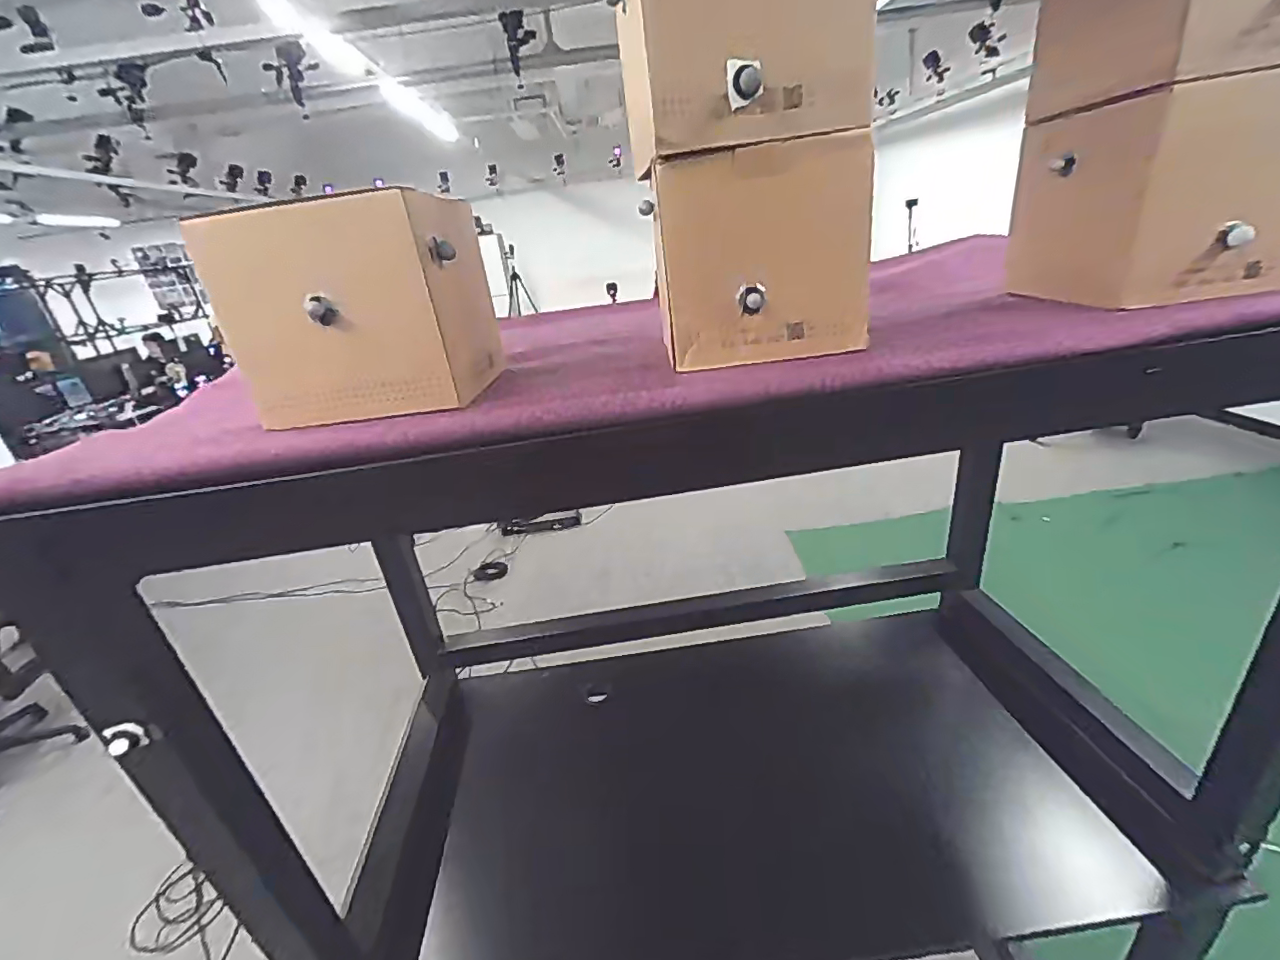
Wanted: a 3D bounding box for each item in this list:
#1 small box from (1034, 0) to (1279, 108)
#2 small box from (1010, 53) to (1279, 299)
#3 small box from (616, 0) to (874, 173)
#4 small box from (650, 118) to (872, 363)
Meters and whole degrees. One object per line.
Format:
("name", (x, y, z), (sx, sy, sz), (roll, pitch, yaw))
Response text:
("small box", (0.458, -0.419, 0.433), (0.168, 0.176, 0.179), (-8, 25, 4))
("small box", (0.481, -0.270, 0.500), (0.168, 0.176, 0.179), (-7, 25, 4))
("small box", (0.071, -0.357, 0.436), (0.168, 0.176, 0.179), (-10, 25, -1))
("small box", (0.099, -0.213, 0.506), (0.168, 0.176, 0.179), (-7, 24, 3))
